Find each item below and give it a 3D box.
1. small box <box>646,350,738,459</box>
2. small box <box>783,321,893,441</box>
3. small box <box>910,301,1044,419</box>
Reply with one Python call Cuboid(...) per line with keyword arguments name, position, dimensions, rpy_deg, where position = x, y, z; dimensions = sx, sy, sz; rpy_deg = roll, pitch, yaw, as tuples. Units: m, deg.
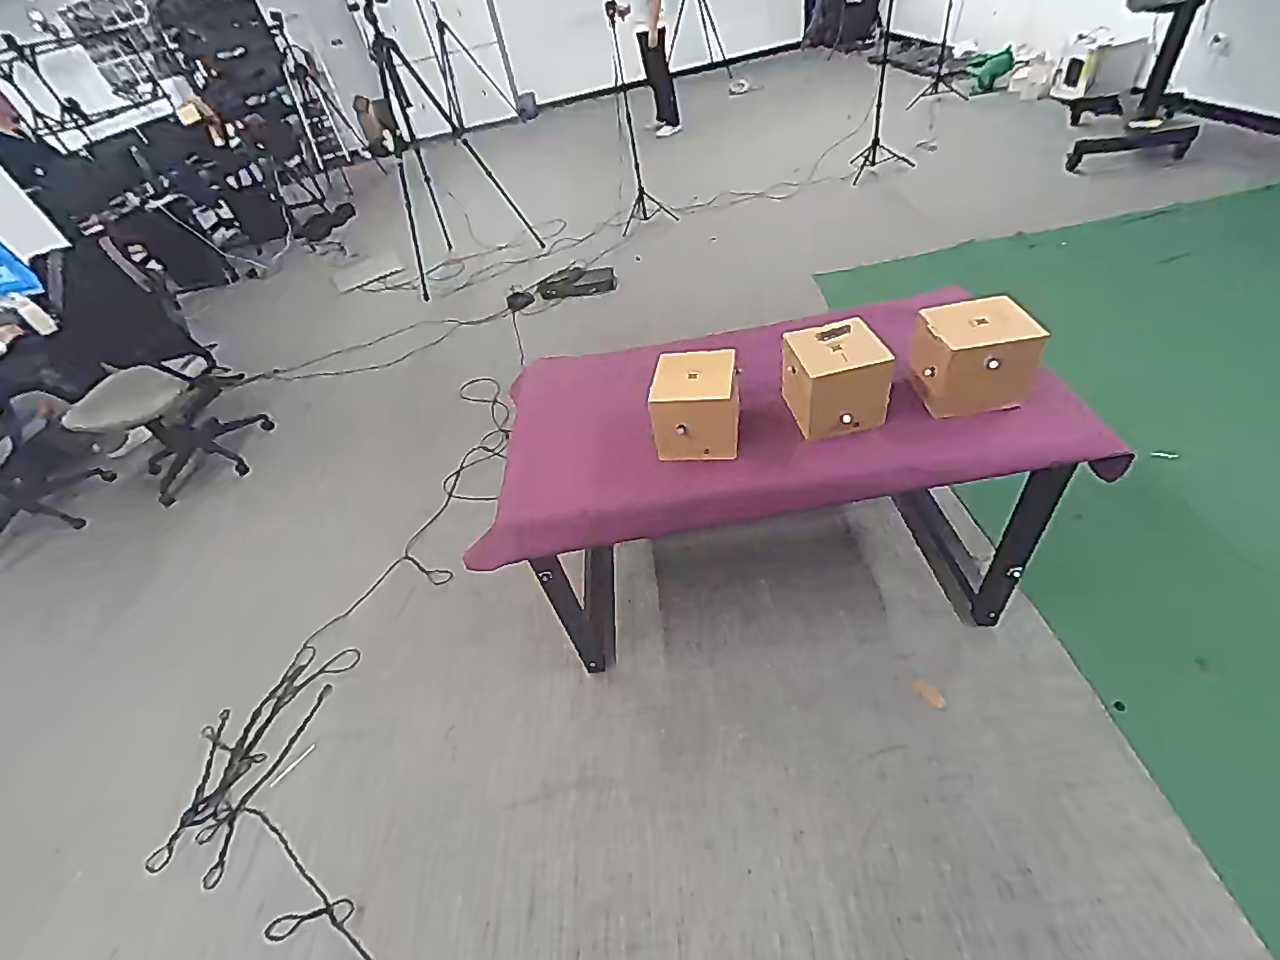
Cuboid(name="small box", position=(0.121, -0.157, 1.164), dimensions=(0.168, 0.176, 0.179), rpy_deg=(0, 44, 15))
Cuboid(name="small box", position=(0.406, -0.208, 1.143), dimensions=(0.168, 0.176, 0.179), rpy_deg=(-12, 44, 2))
Cuboid(name="small box", position=(0.673, -0.241, 1.109), dimensions=(0.179, 0.176, 0.168), rpy_deg=(-7, 43, 7))
